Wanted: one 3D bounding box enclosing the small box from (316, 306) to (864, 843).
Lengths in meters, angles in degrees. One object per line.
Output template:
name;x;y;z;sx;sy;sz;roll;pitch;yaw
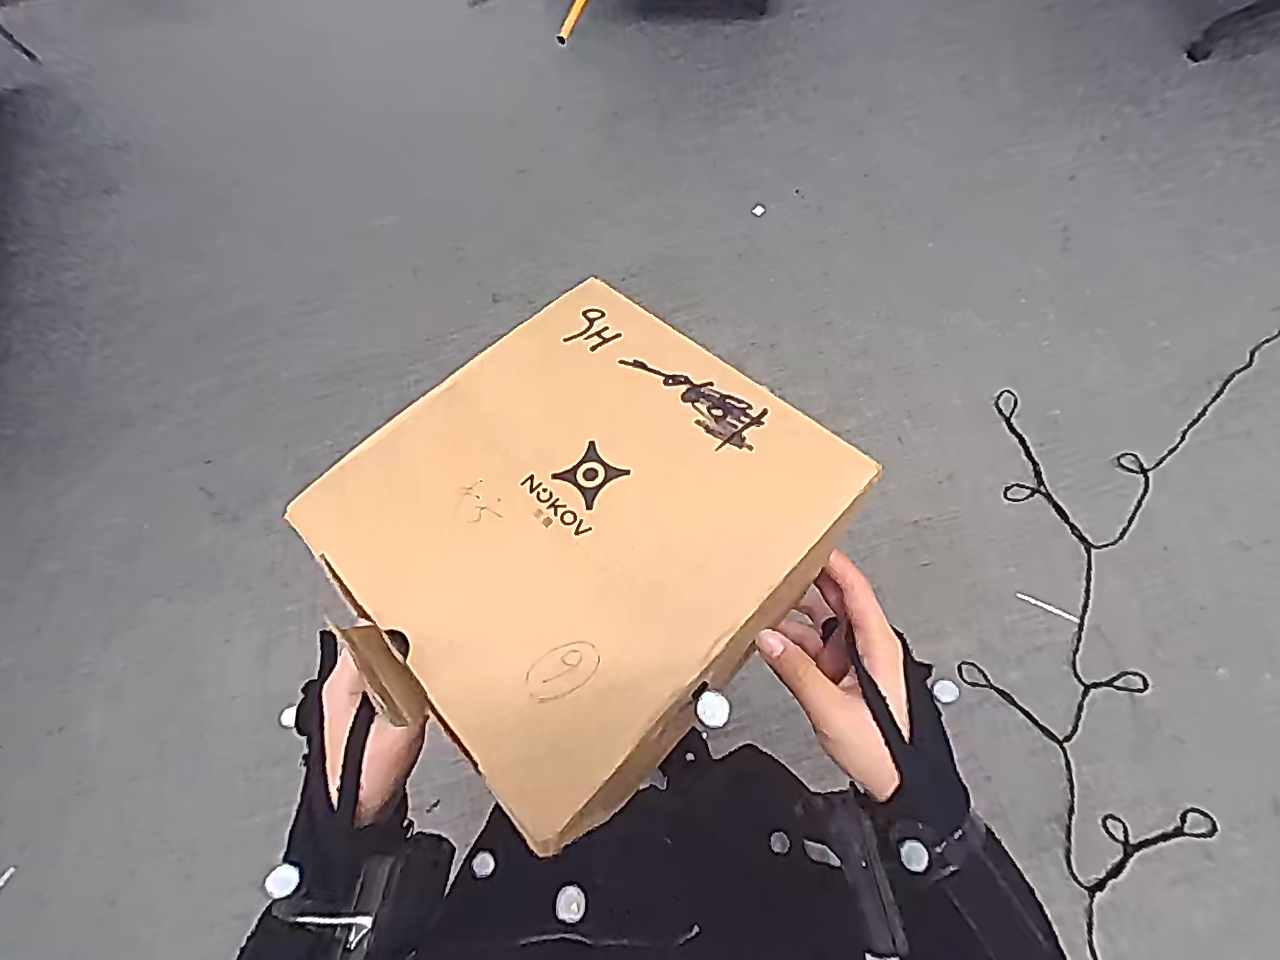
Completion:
small box;-0.017;0.051;0.294;0.168;0.176;0.179;40;72;22
